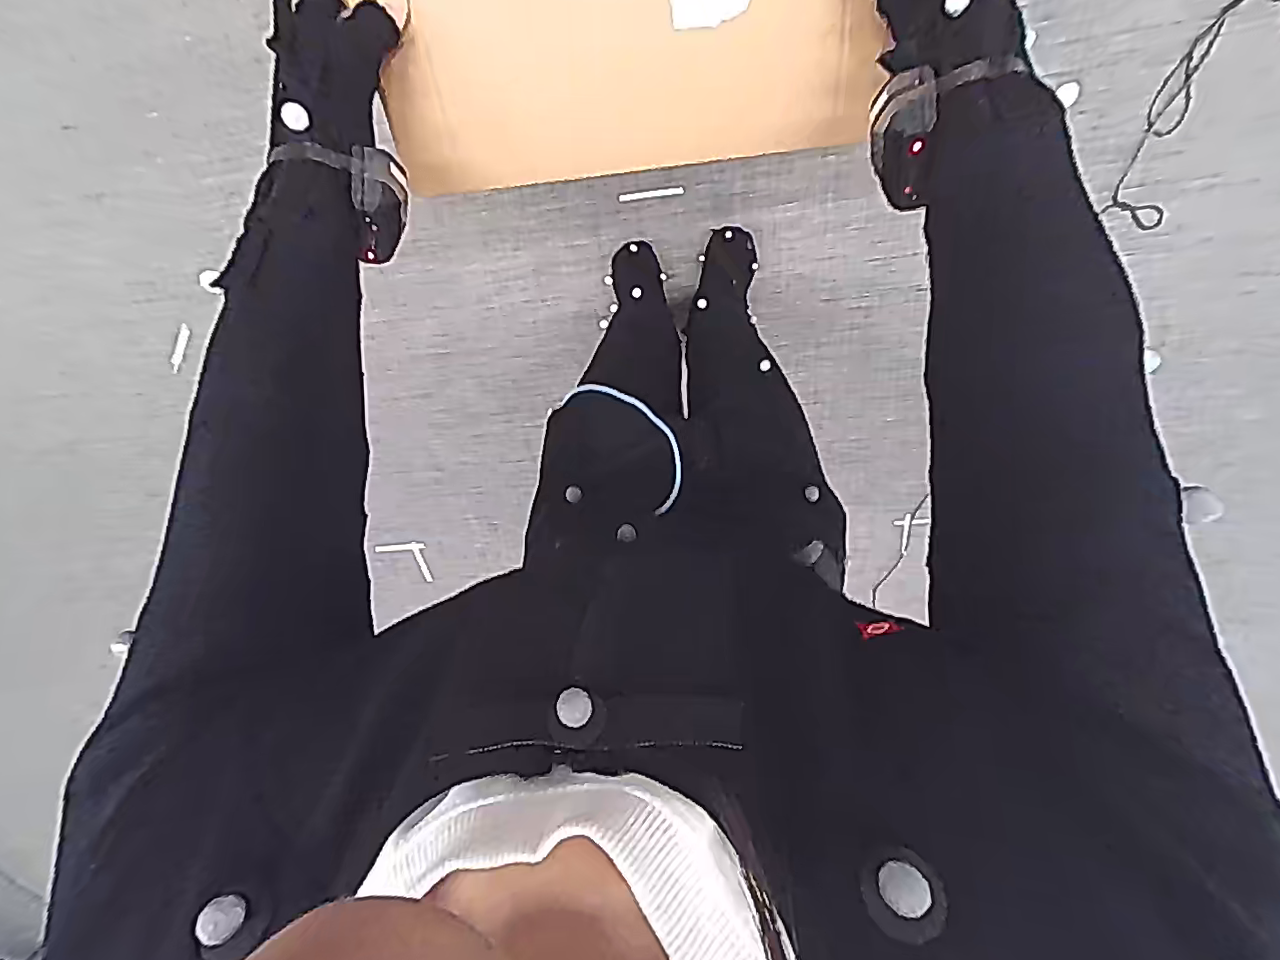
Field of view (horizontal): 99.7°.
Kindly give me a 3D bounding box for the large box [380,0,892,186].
[{"bbox_3d":[-0.008,-0.495,0.517,0.408,0.320,0.320,-5,124,5],"label":"large box"}]
